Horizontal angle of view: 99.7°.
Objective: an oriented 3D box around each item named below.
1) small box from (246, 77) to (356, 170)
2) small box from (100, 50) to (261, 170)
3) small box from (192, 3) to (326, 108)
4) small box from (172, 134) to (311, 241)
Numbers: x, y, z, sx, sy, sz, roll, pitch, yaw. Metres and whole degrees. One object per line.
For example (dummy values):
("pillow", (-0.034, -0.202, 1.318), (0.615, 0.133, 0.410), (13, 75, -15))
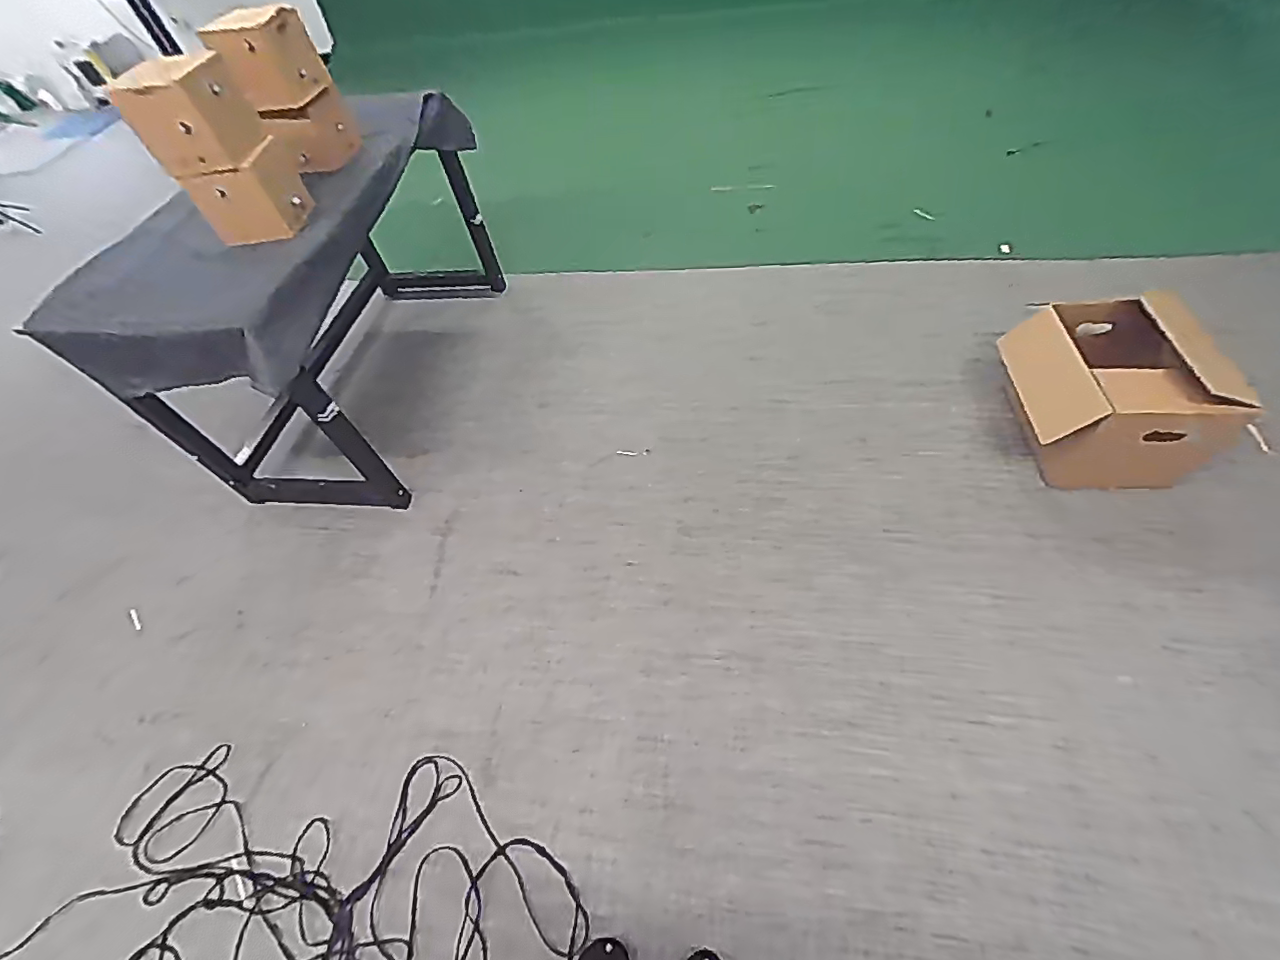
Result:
("small box", (-0.933, -0.985, 1.503), (0.179, 0.176, 0.168), (3, 55, 9))
("small box", (-0.973, -0.790, 1.167), (0.168, 0.176, 0.179), (-2, 53, 5))
("small box", (-0.943, -1.058, 1.356), (0.179, 0.176, 0.168), (5, 55, 11))
("small box", (-0.939, -0.693, 1.293), (0.179, 0.176, 0.168), (-6, 54, 3))
